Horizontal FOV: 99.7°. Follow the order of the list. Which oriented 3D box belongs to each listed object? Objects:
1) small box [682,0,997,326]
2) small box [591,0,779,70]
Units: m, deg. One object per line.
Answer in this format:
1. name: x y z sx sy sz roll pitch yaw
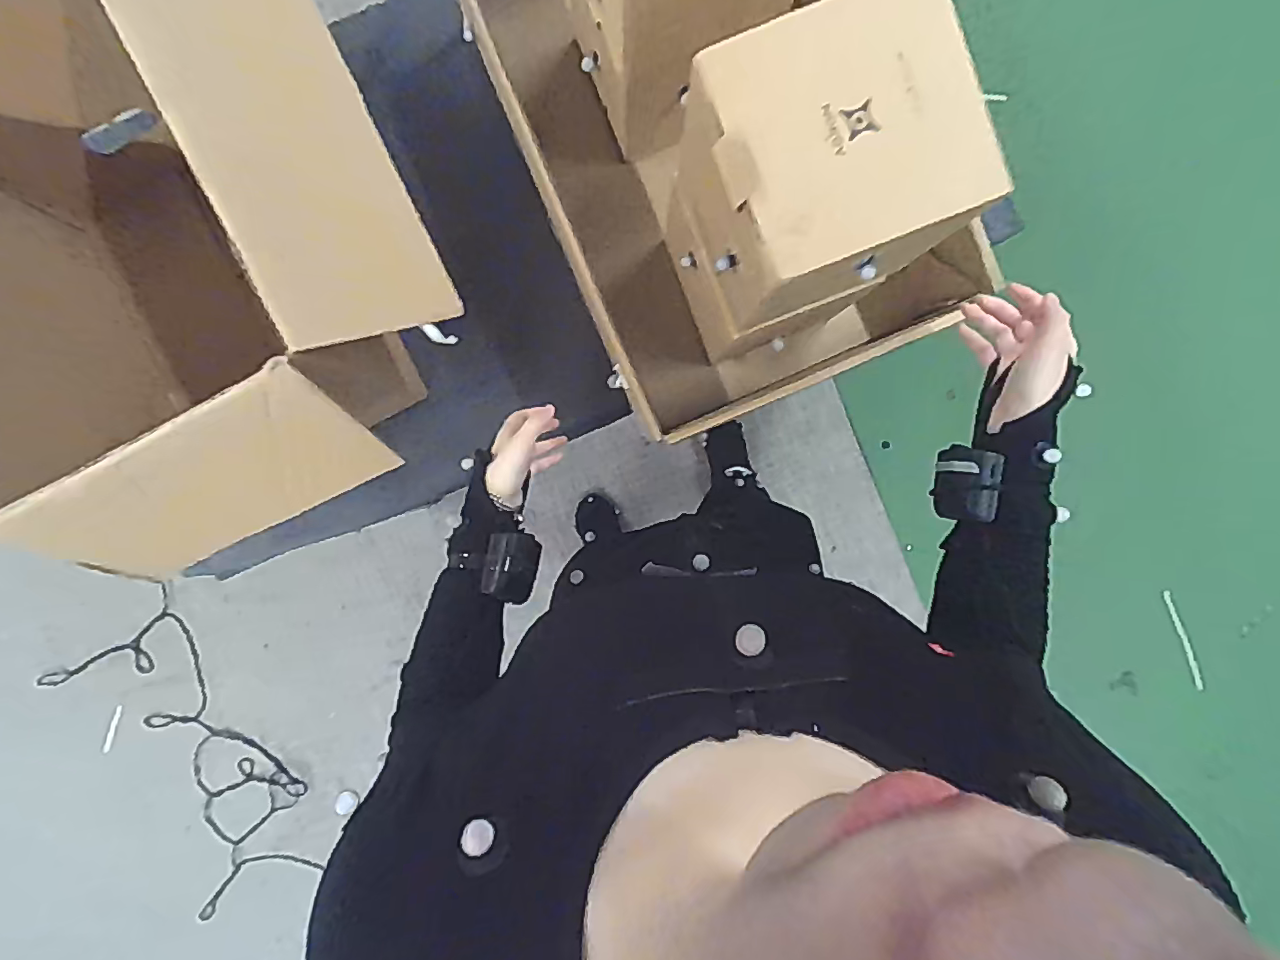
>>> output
1. small box: 0.141 -0.248 0.454 0.179 0.176 0.168 -22 95 1
2. small box: 0.030 -0.484 0.435 0.179 0.176 0.168 -21 95 0
